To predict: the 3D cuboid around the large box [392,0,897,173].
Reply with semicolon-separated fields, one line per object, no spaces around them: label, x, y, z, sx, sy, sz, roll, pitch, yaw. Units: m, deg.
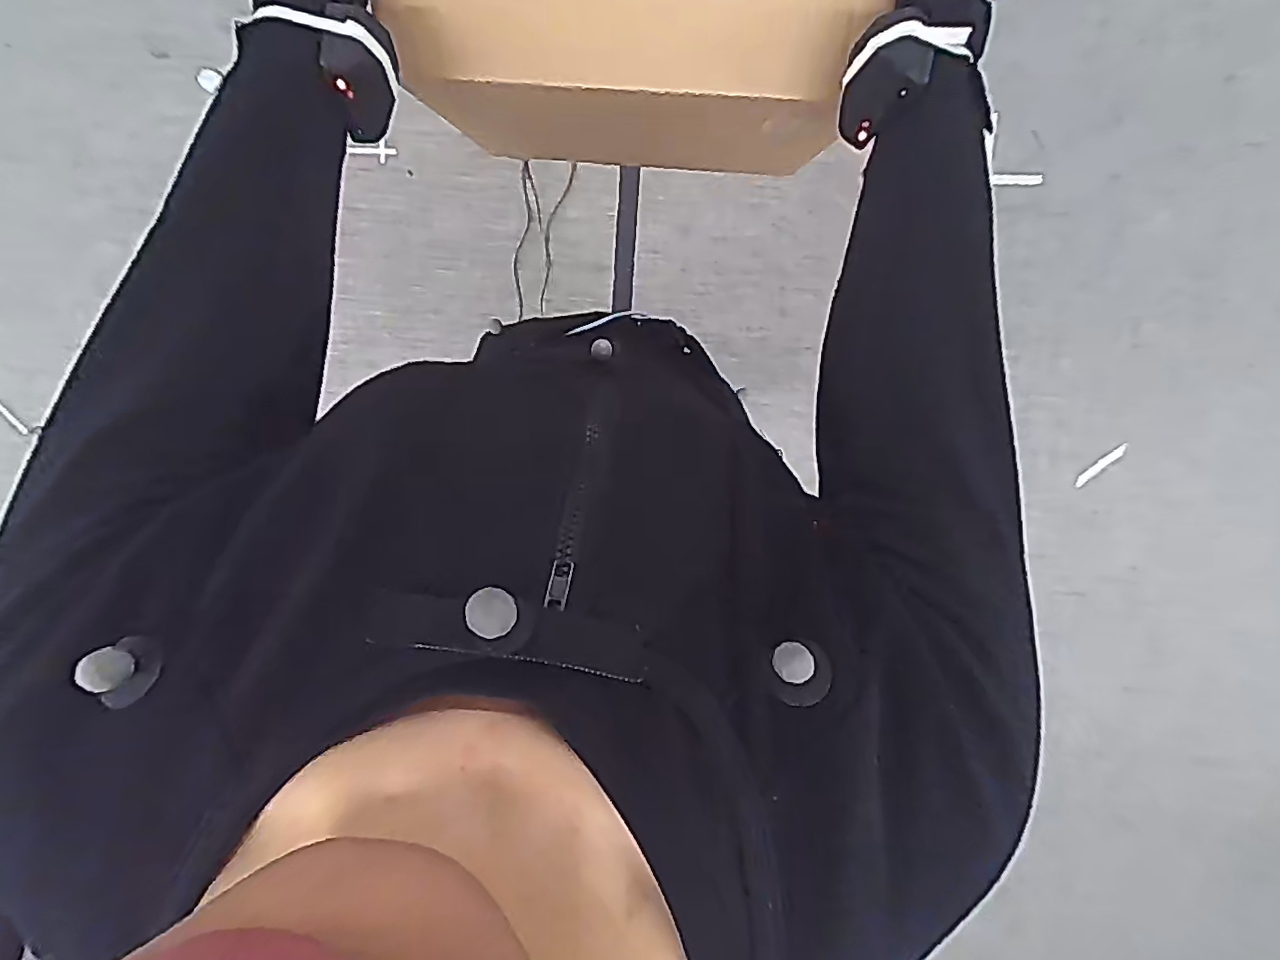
large box;0.008;-0.511;0.532;0.408;0.320;0.320;3;111;0
